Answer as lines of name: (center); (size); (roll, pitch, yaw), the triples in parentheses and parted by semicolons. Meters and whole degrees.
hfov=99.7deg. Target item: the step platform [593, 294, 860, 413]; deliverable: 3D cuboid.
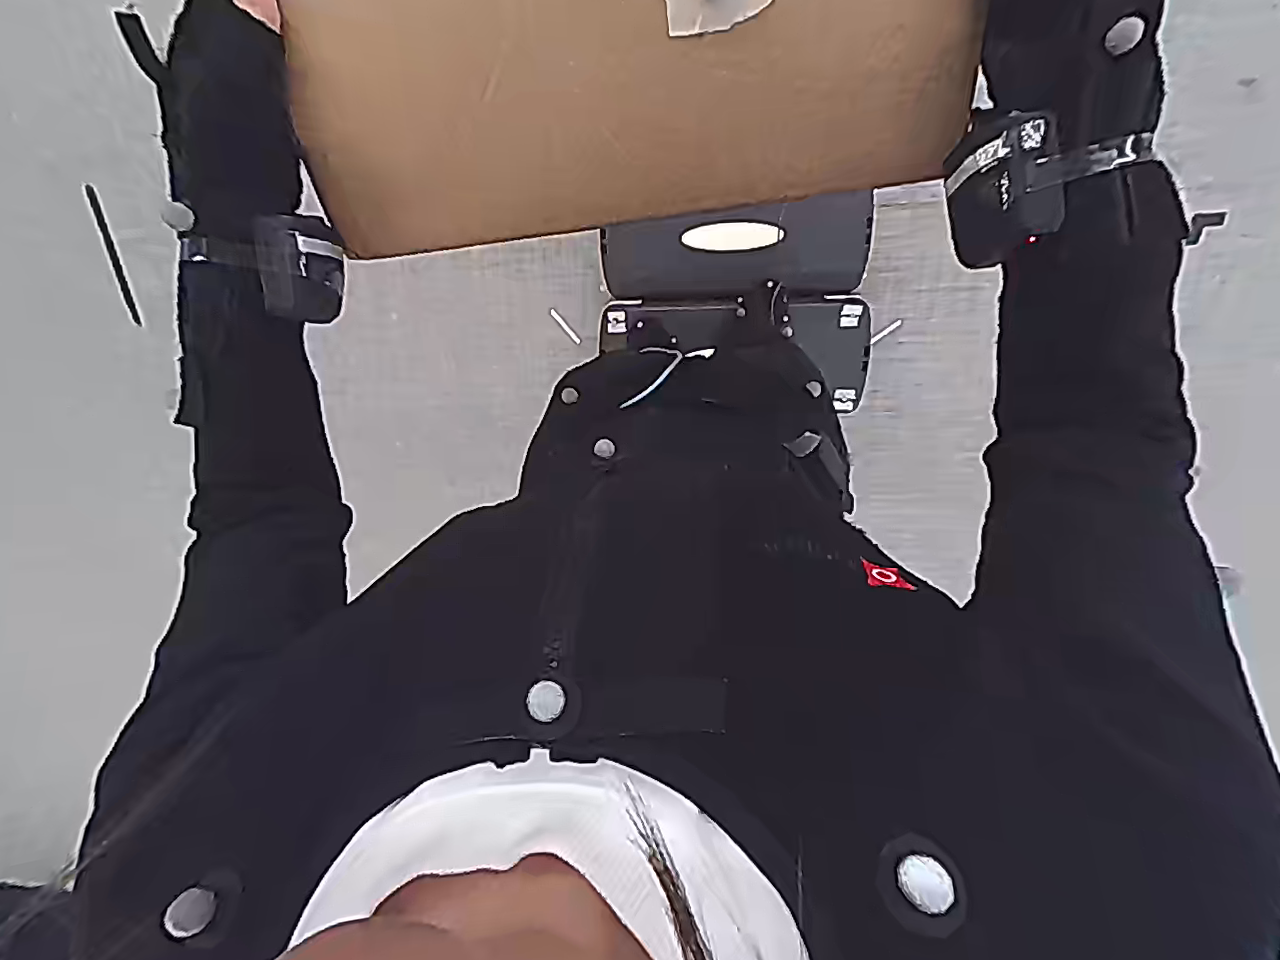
step platform: (0.218, -0.333, 1.440); (0.684, 0.204, 0.286); (1, 110, 9)

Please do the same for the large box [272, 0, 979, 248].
large box: (-0.011, -0.392, 0.402); (0.408, 0.320, 0.320); (-4, 125, 9)
